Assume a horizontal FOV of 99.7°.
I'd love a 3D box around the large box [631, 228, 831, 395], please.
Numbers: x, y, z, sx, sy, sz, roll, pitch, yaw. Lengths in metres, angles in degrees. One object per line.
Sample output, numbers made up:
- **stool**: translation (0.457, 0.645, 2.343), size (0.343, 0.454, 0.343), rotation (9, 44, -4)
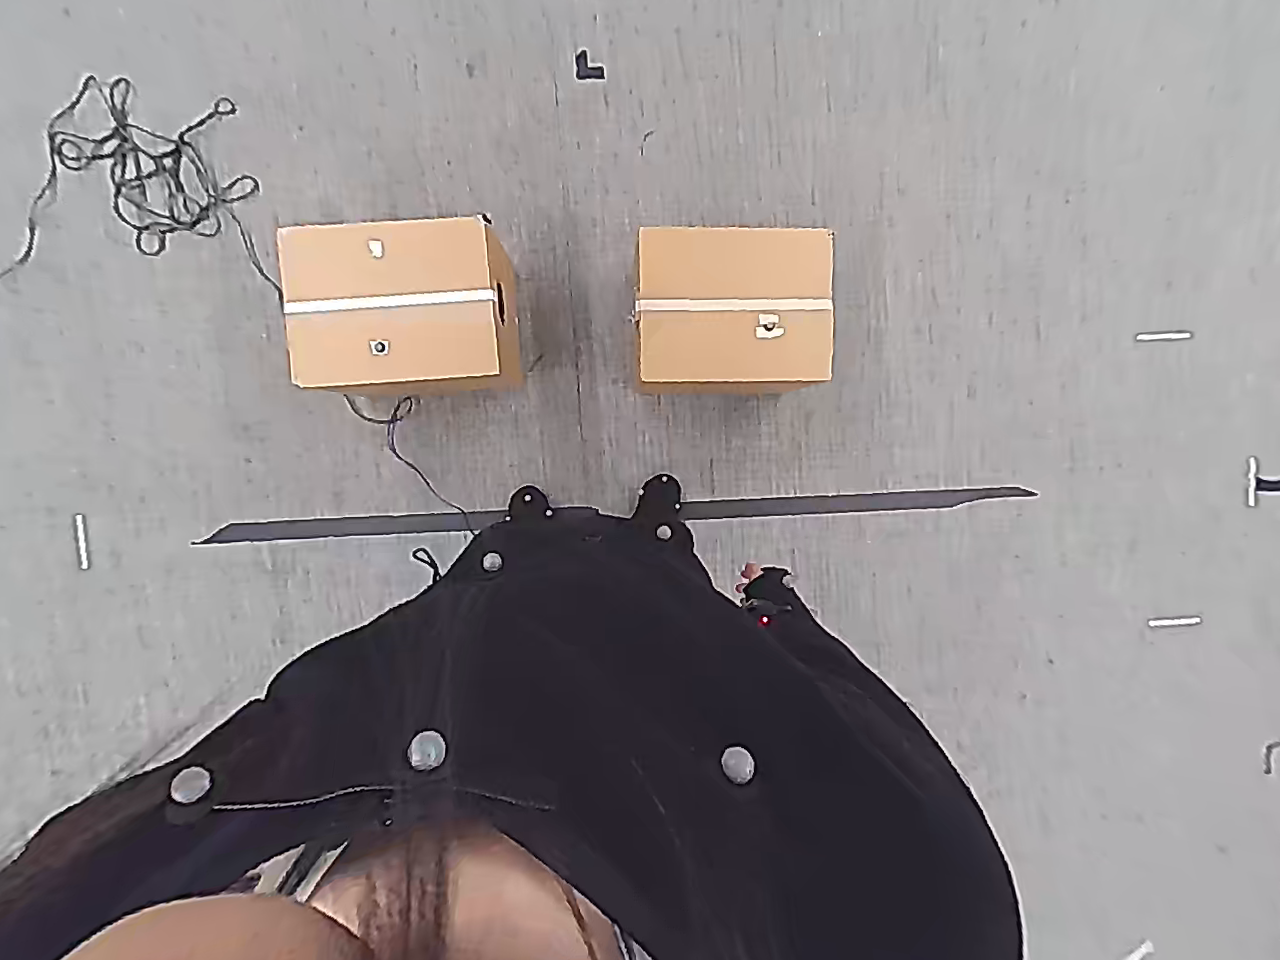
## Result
- **large box**: translation (0.190, -0.373, 1.270), size (0.408, 0.320, 0.320), rotation (-1, 94, -4)
